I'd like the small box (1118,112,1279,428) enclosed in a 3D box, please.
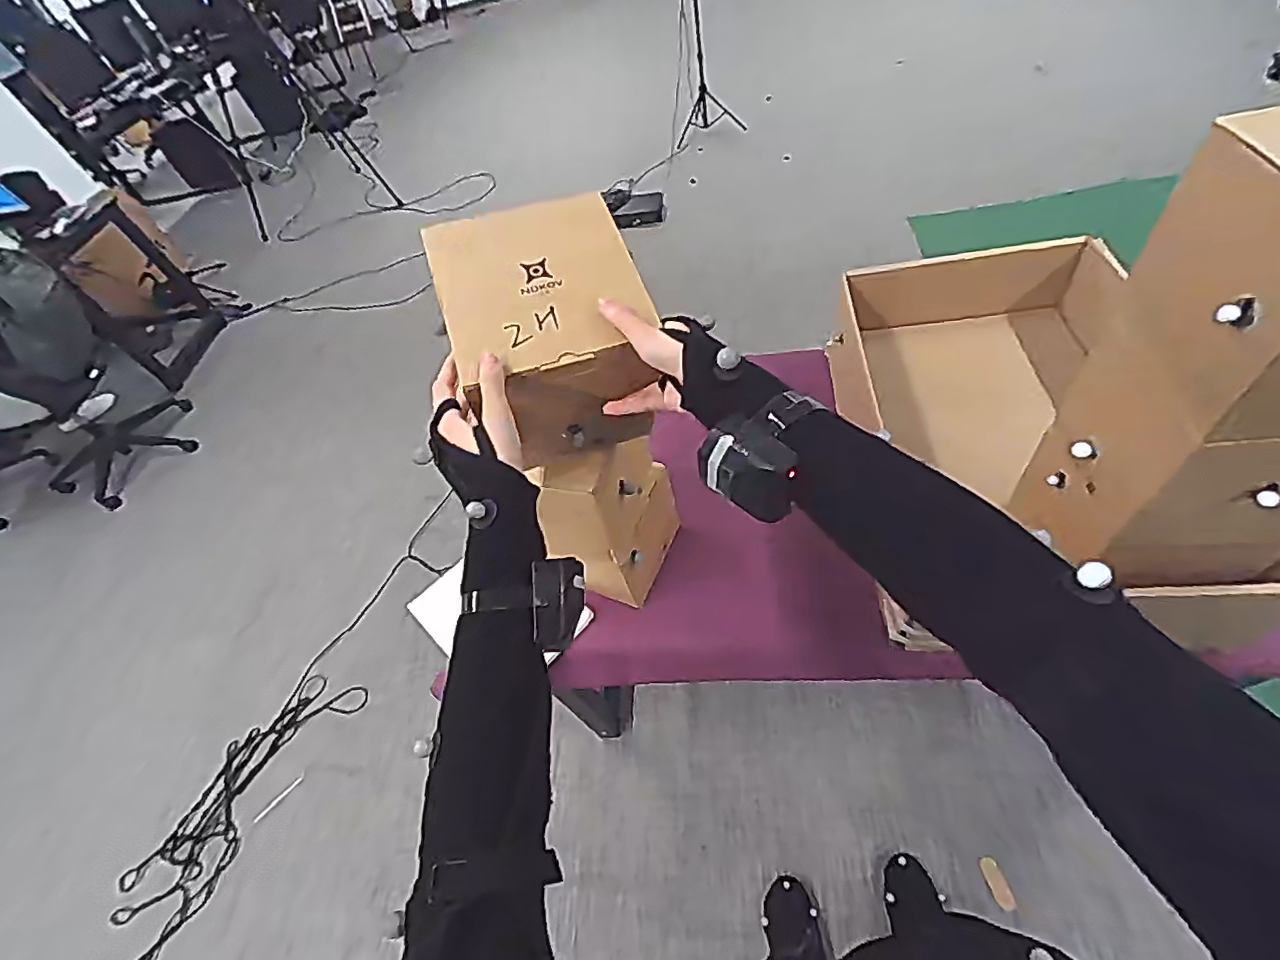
[{"bbox_3d":[0.509,-0.151,0.393,0.168,0.176,0.179,-3,52,13],"label":"small box"}]

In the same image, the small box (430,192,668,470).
[{"bbox_3d":[-0.084,-0.136,0.526,0.168,0.176,0.179,-17,69,-9],"label":"small box"}]

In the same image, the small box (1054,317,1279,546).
[{"bbox_3d":[0.546,-0.049,0.515,0.179,0.176,0.168,-4,52,14],"label":"small box"}]

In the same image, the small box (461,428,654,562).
[{"bbox_3d":[-0.091,-0.008,0.709,0.179,0.176,0.168,6,55,19],"label":"small box"}]
